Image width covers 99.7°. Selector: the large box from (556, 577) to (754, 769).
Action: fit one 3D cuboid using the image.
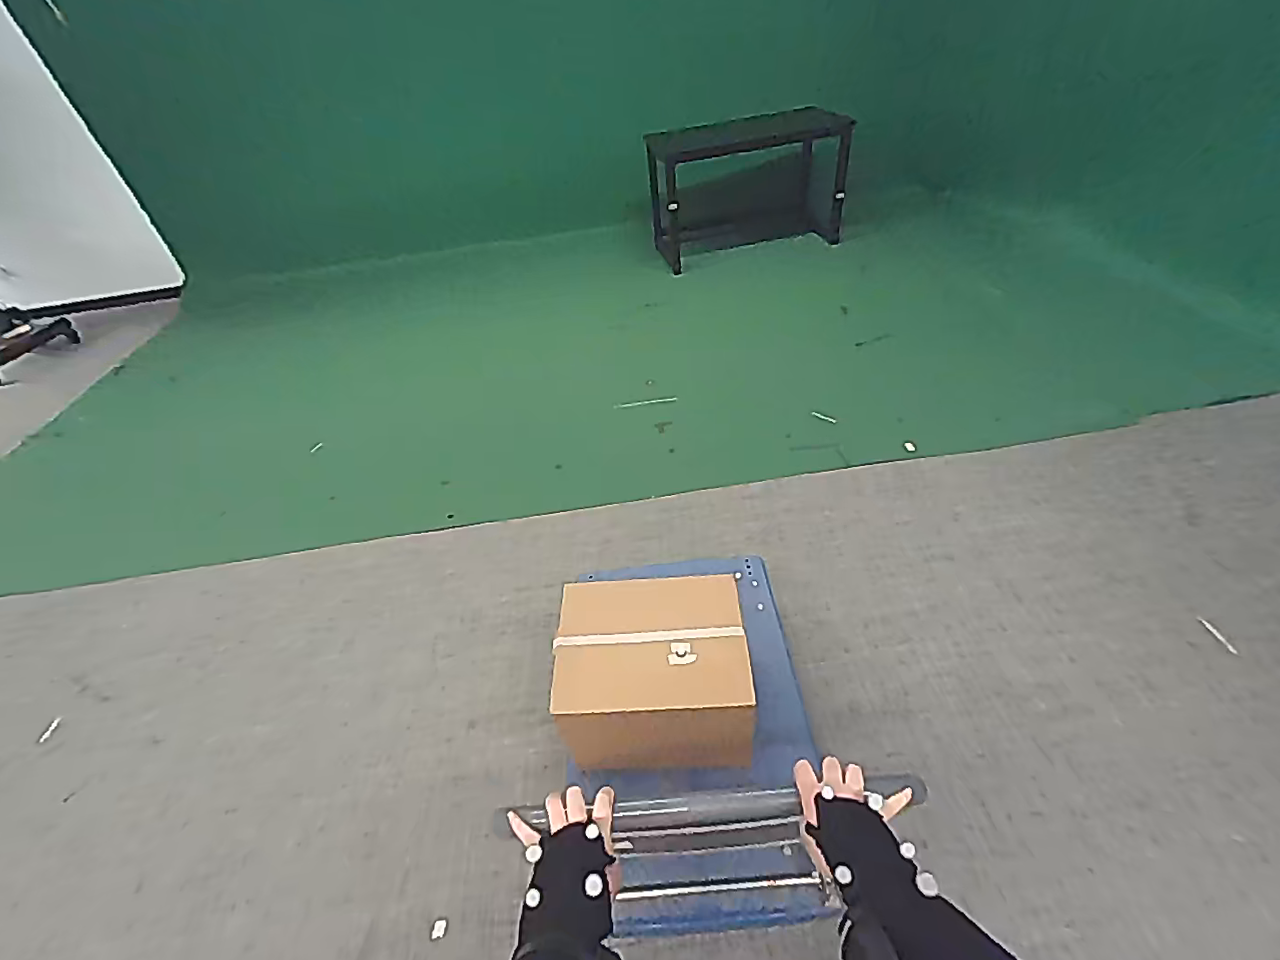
[{"bbox_3d":[0.036,0.458,1.278,0.408,0.320,0.320,-4,42,3],"label":"large box"}]
